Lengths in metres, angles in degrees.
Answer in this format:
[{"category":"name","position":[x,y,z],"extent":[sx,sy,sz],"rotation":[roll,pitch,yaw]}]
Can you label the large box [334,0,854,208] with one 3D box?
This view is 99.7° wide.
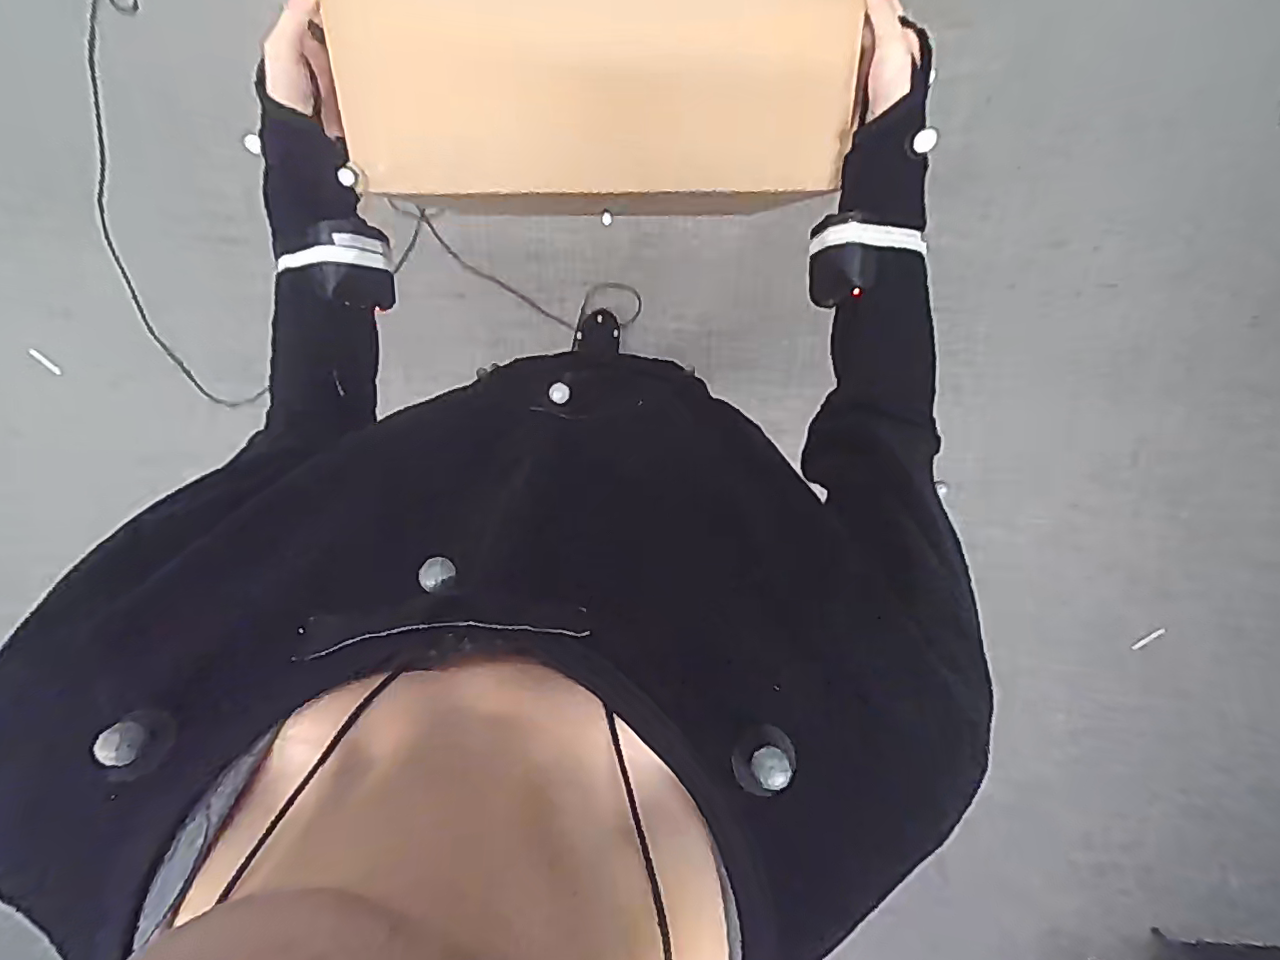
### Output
[{"category":"large box","position":[-0.036,-0.451,0.537],"extent":[0.408,0.320,0.320],"rotation":[-1,113,-2]}]
